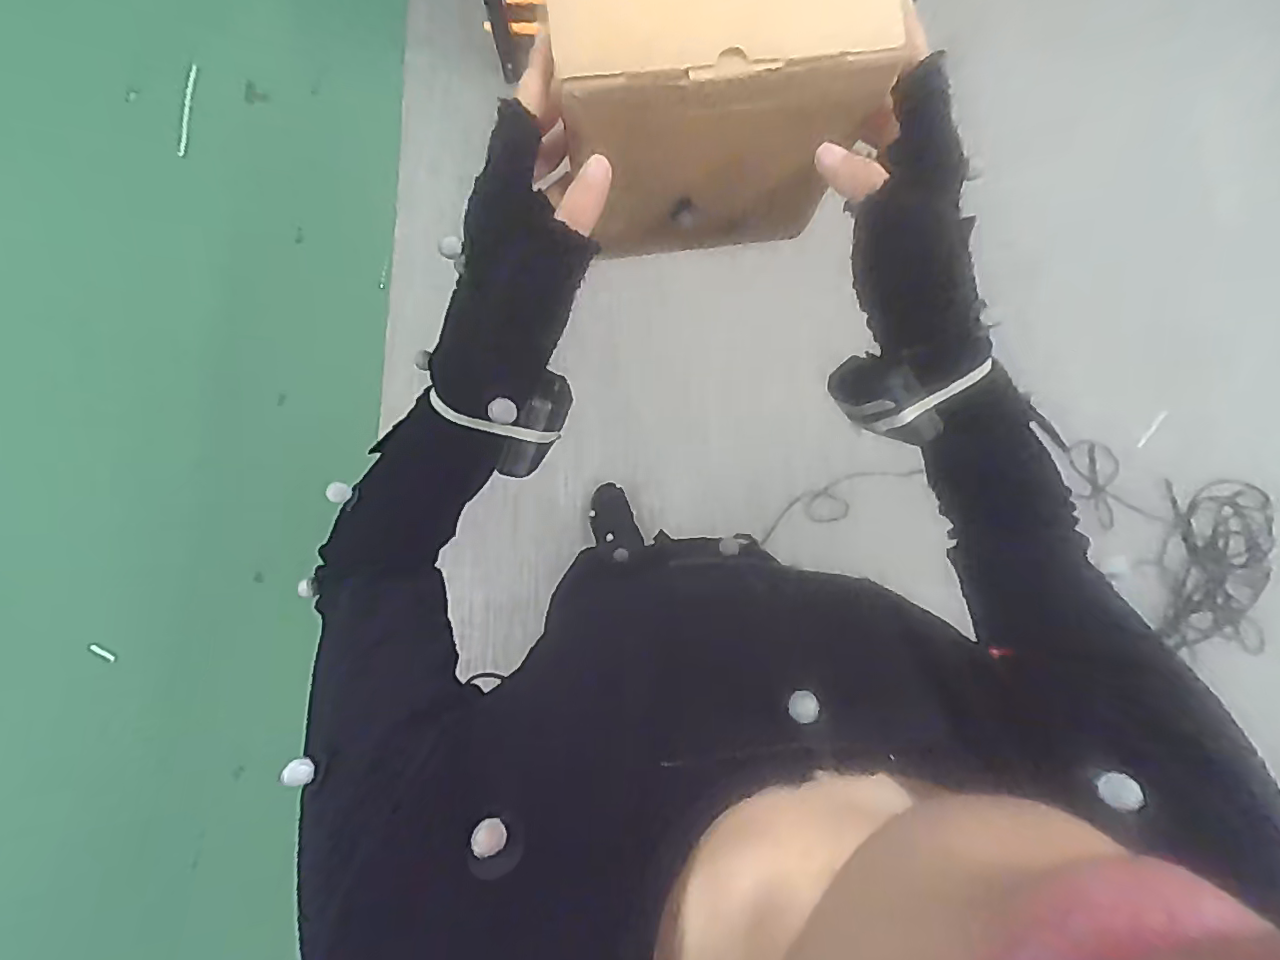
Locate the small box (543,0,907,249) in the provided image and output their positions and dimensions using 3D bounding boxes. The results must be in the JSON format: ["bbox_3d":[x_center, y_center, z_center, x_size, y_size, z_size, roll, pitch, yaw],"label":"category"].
[{"bbox_3d":[0.029,-0.270,0.329,0.168,0.176,0.179,-7,86,-1],"label":"small box"}]
